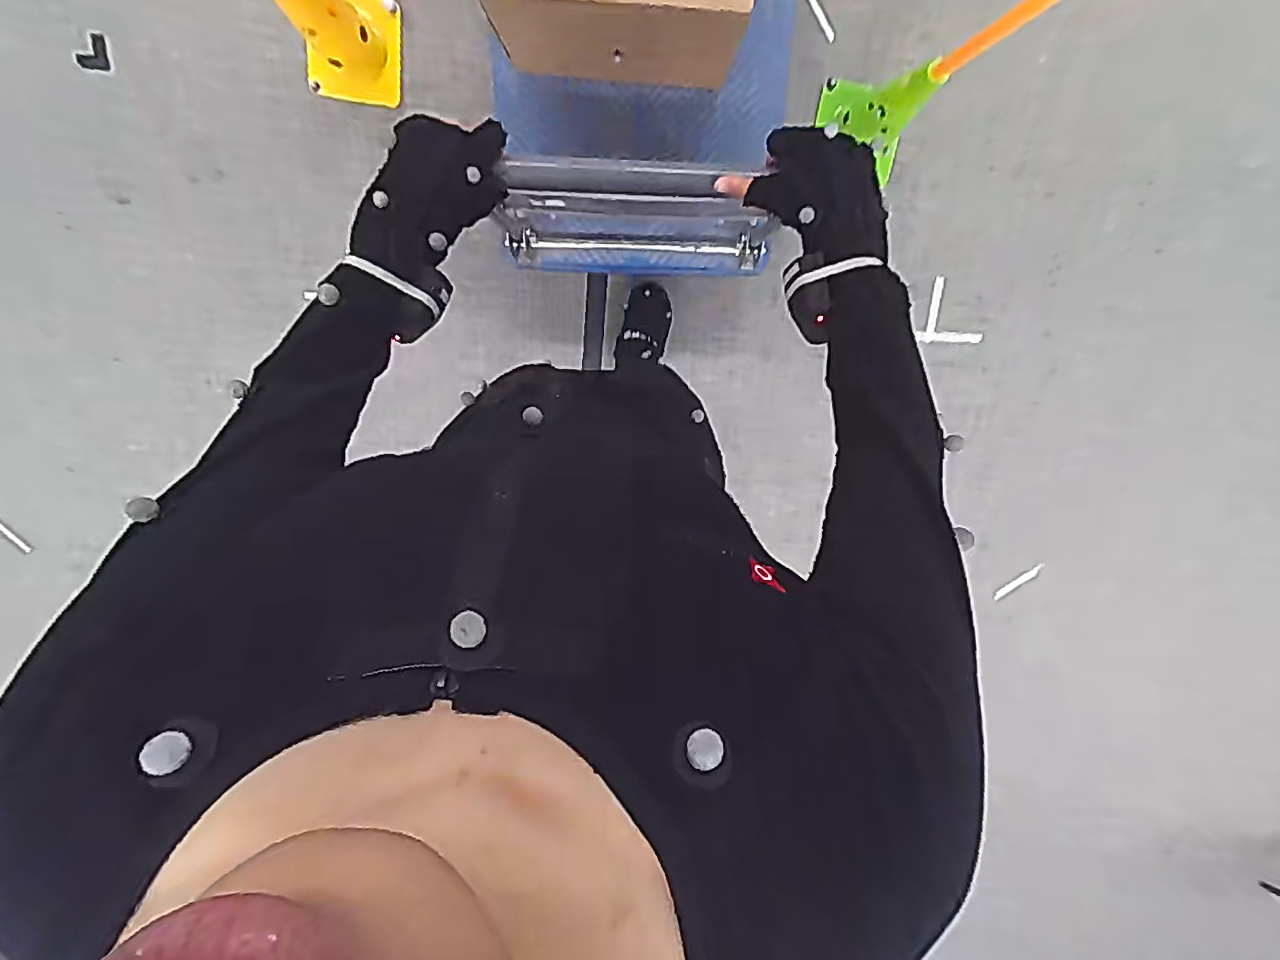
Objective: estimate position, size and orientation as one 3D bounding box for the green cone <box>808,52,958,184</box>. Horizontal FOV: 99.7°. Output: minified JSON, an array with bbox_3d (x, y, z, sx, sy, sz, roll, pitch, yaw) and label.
[{"bbox_3d":[0.506,-0.751,1.081,0.202,0.368,0.200,7,108,-4],"label":"green cone"}]

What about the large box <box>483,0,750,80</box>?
[{"bbox_3d":[-0.029,-0.889,0.877,0.408,0.320,0.320,3,109,-1],"label":"large box"}]
